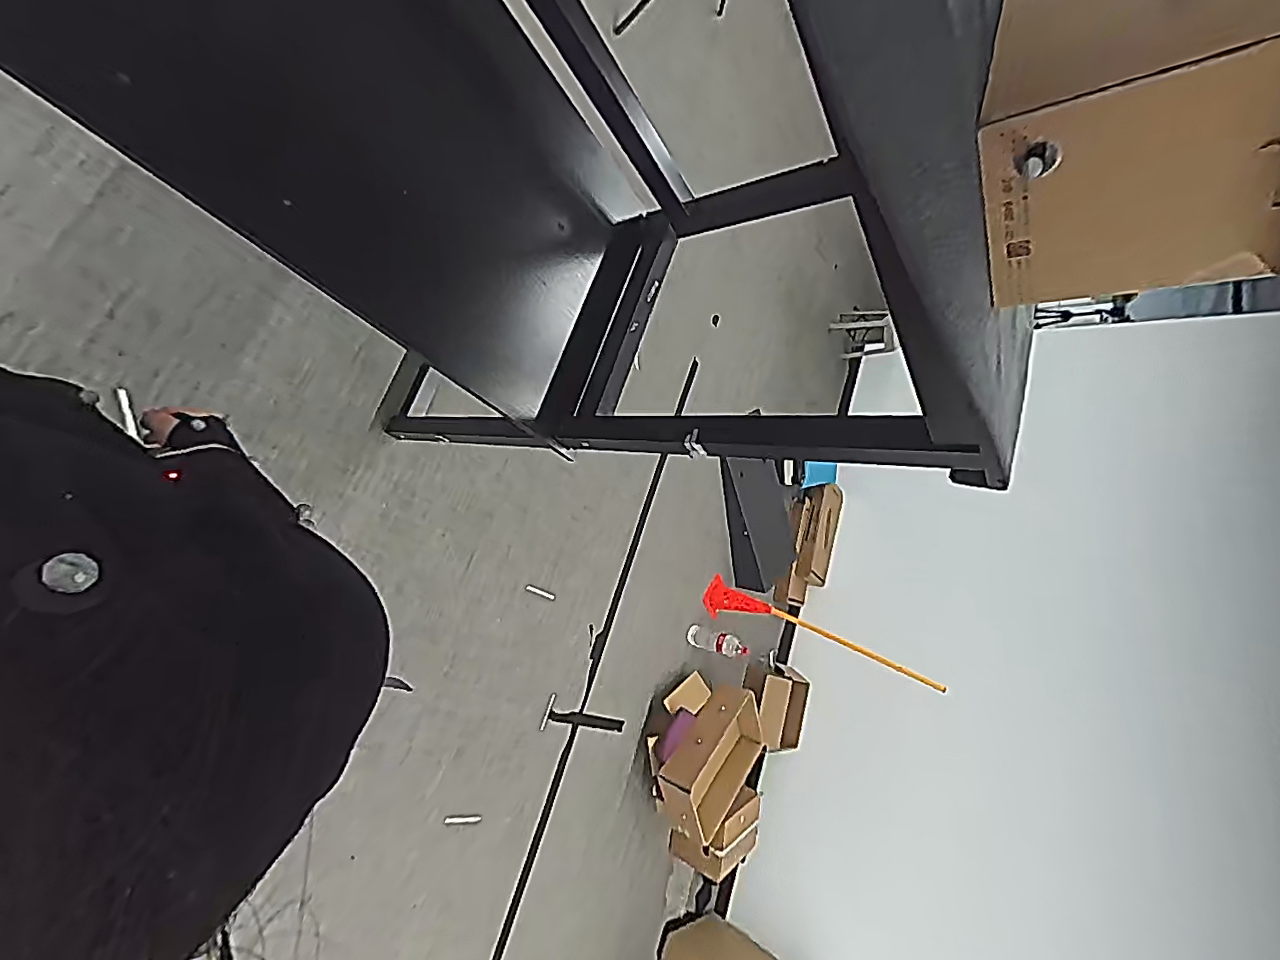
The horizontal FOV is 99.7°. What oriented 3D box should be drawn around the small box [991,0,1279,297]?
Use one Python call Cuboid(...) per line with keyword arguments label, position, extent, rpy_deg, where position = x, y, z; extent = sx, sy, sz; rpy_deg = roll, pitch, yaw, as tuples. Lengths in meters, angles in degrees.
Cuboid(label="small box", position=(0.354, -0.256, 0.381), extent=(0.168, 0.176, 0.179), rpy_deg=(43, 60, -45))
